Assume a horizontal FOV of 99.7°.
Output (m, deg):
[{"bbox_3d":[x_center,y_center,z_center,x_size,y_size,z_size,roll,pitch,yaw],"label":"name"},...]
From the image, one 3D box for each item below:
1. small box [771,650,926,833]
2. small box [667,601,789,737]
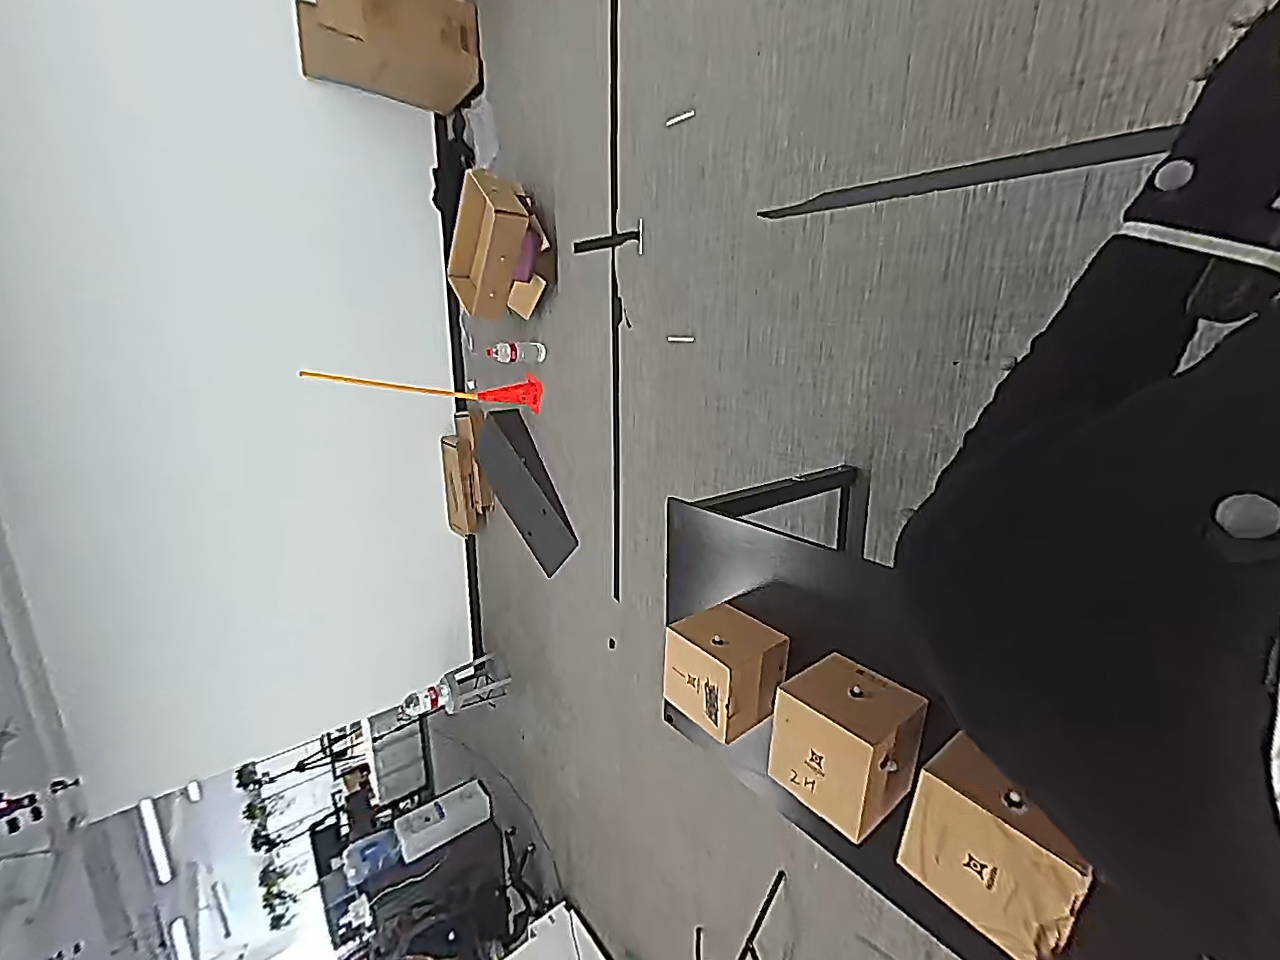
[{"bbox_3d":[0.337,0.406,0.876,0.168,0.176,0.179,20,115,49],"label":"small box"},{"bbox_3d":[0.174,0.361,1.075,0.179,0.176,0.168,21,115,49],"label":"small box"}]
